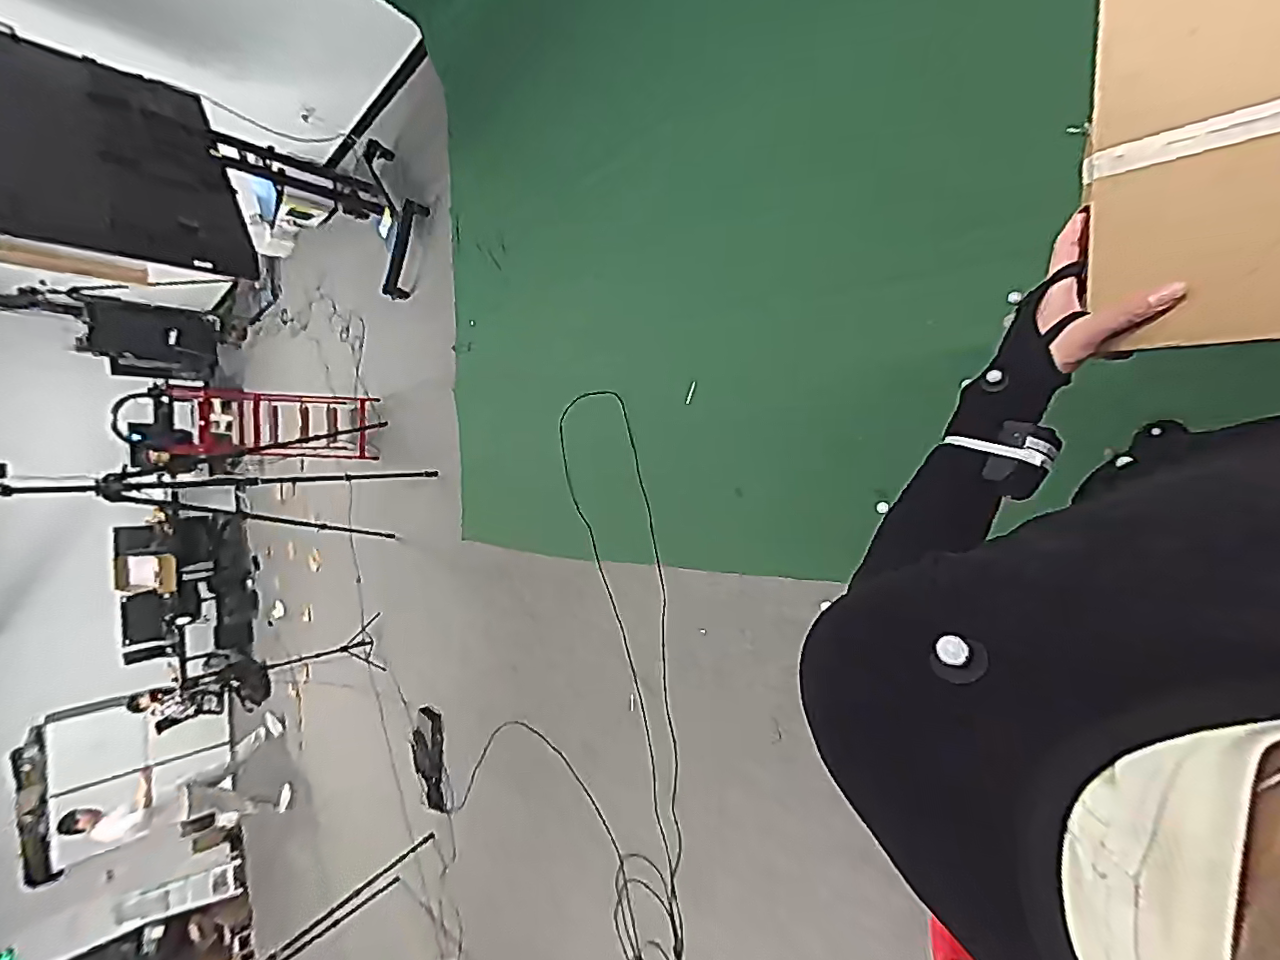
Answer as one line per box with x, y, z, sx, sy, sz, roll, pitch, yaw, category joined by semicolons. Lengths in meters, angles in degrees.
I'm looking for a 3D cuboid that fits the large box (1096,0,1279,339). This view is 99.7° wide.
0.635;-0.296;0.414;0.408;0.320;0.320;6;107;47;large box
